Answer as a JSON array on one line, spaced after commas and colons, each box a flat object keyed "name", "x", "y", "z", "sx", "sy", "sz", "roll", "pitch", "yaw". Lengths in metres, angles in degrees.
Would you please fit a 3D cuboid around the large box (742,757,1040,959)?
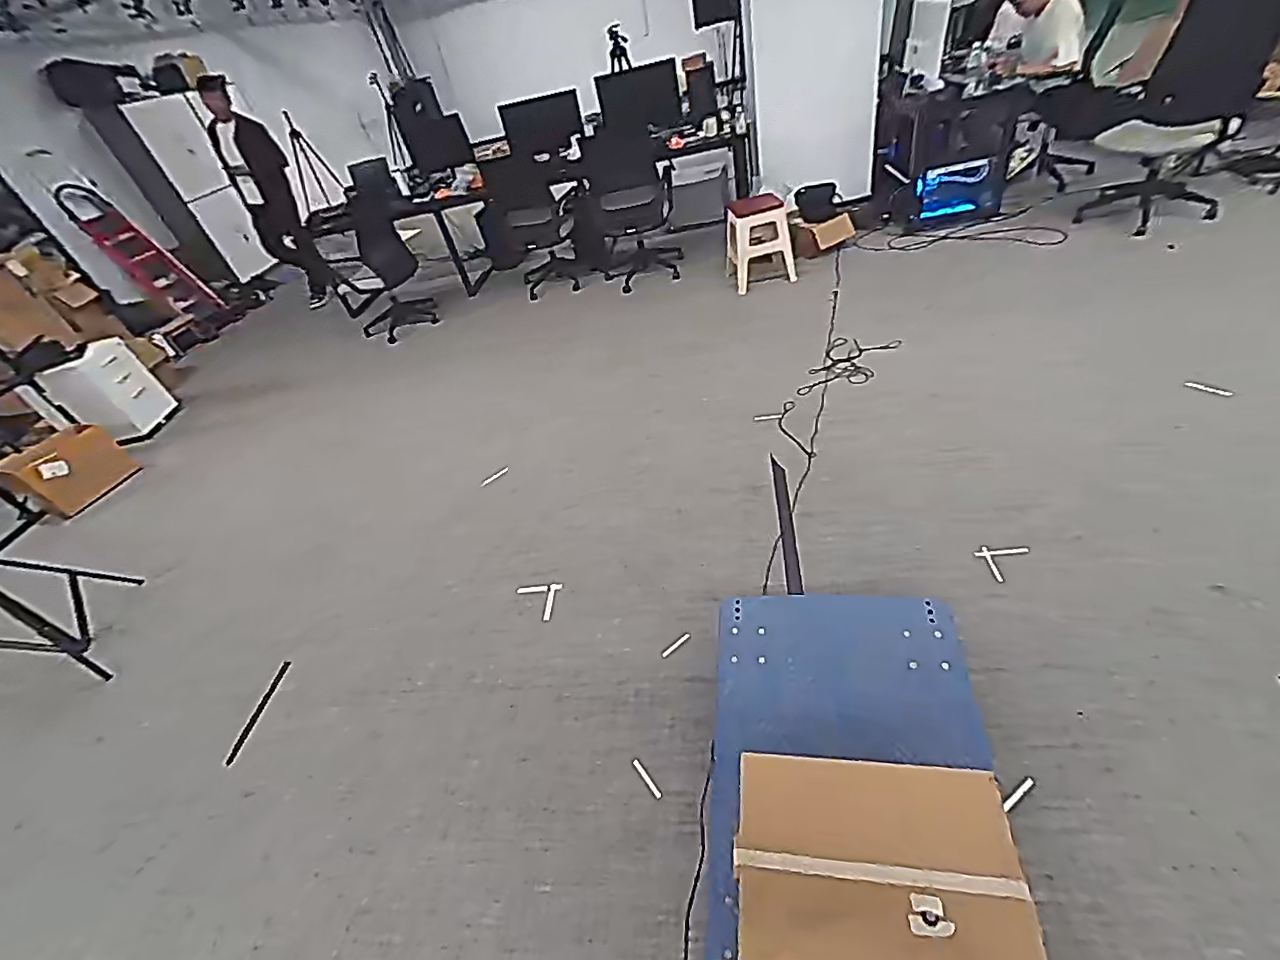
[{"name": "large box", "x": 0.389, "y": 0.703, "z": 0.933, "sx": 0.408, "sy": 0.320, "sz": 0.320, "roll": -3, "pitch": 48, "yaw": 14}]
